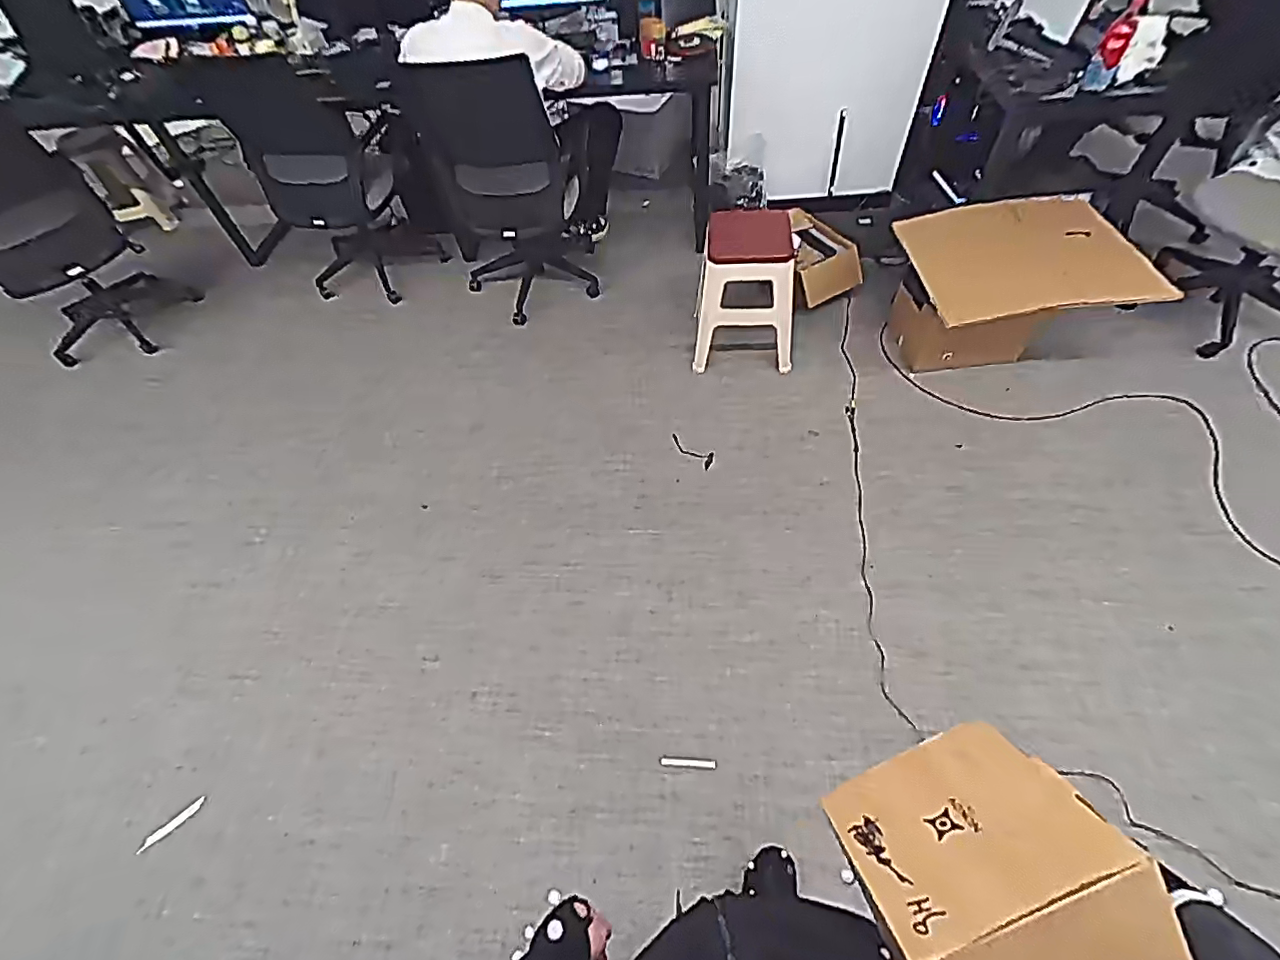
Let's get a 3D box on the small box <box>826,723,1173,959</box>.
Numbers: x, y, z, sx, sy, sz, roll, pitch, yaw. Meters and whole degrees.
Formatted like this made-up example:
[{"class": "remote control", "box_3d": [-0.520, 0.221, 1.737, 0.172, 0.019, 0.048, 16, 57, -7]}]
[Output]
[{"class": "small box", "box_3d": [0.295, 0.354, 0.457, 0.179, 0.168, 0.176, -25, 97, 0]}]
